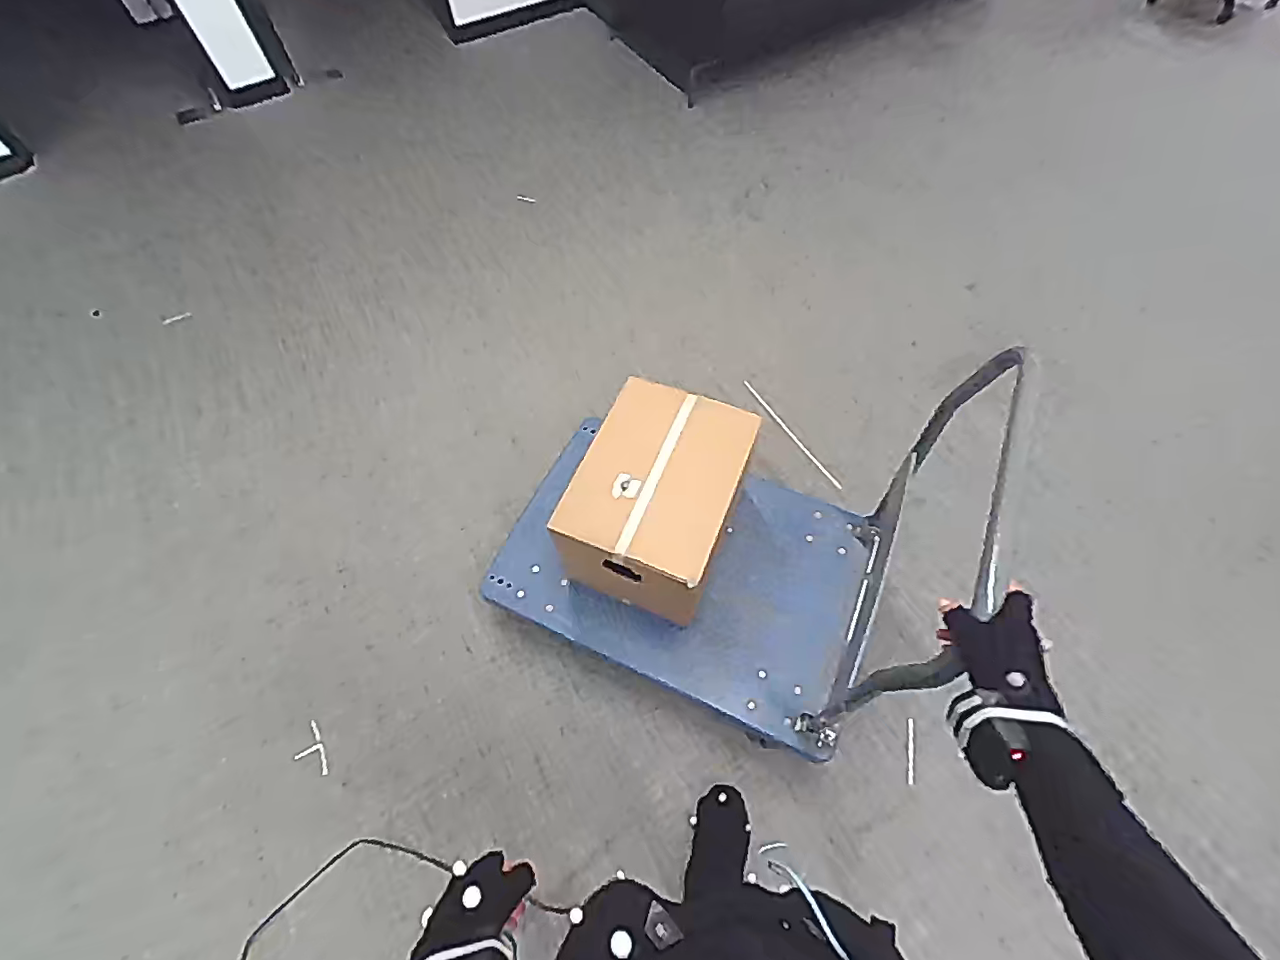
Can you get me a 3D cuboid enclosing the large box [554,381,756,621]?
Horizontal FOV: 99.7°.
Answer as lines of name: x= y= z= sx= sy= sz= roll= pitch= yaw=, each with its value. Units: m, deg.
large box: x=0.046 y=0.053 z=1.235 sx=0.320 sy=0.320 sz=0.408 roll=18 pitch=64 yaw=13
